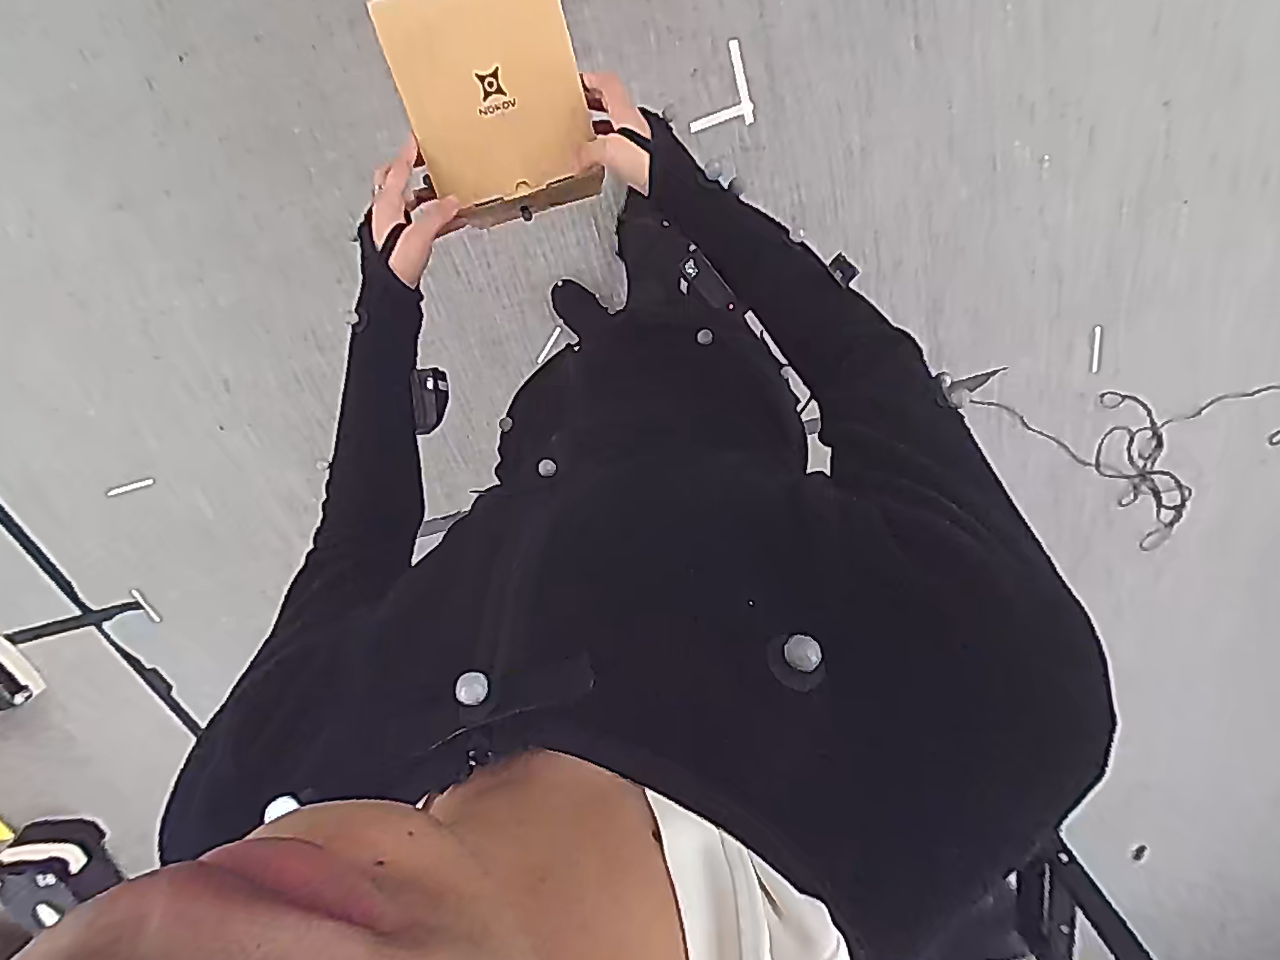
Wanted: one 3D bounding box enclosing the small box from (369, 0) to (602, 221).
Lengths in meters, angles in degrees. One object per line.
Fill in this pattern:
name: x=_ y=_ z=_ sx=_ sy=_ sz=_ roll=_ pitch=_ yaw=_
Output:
small box: x=-0.143 y=-0.389 z=0.567 sx=0.168 sy=0.176 sz=0.179 roll=-15 pitch=112 yaw=2
